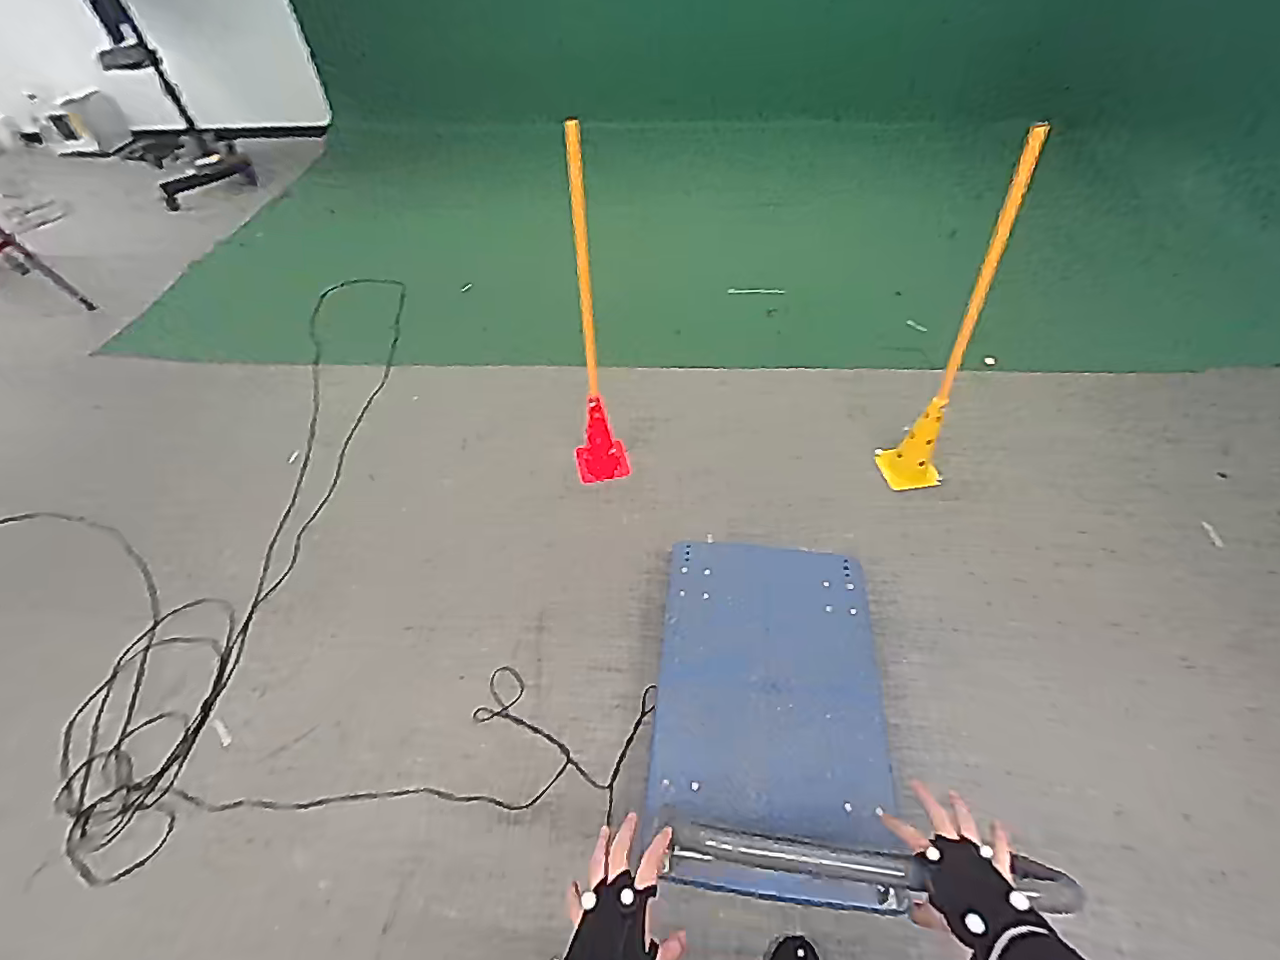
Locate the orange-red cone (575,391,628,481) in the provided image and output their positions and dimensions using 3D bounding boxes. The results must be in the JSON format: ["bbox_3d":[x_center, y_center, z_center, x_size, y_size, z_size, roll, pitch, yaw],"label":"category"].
[{"bbox_3d":[-0.164,-0.188,2.031,0.199,0.360,0.198,-11,50,-5],"label":"orange-red cone"}]
